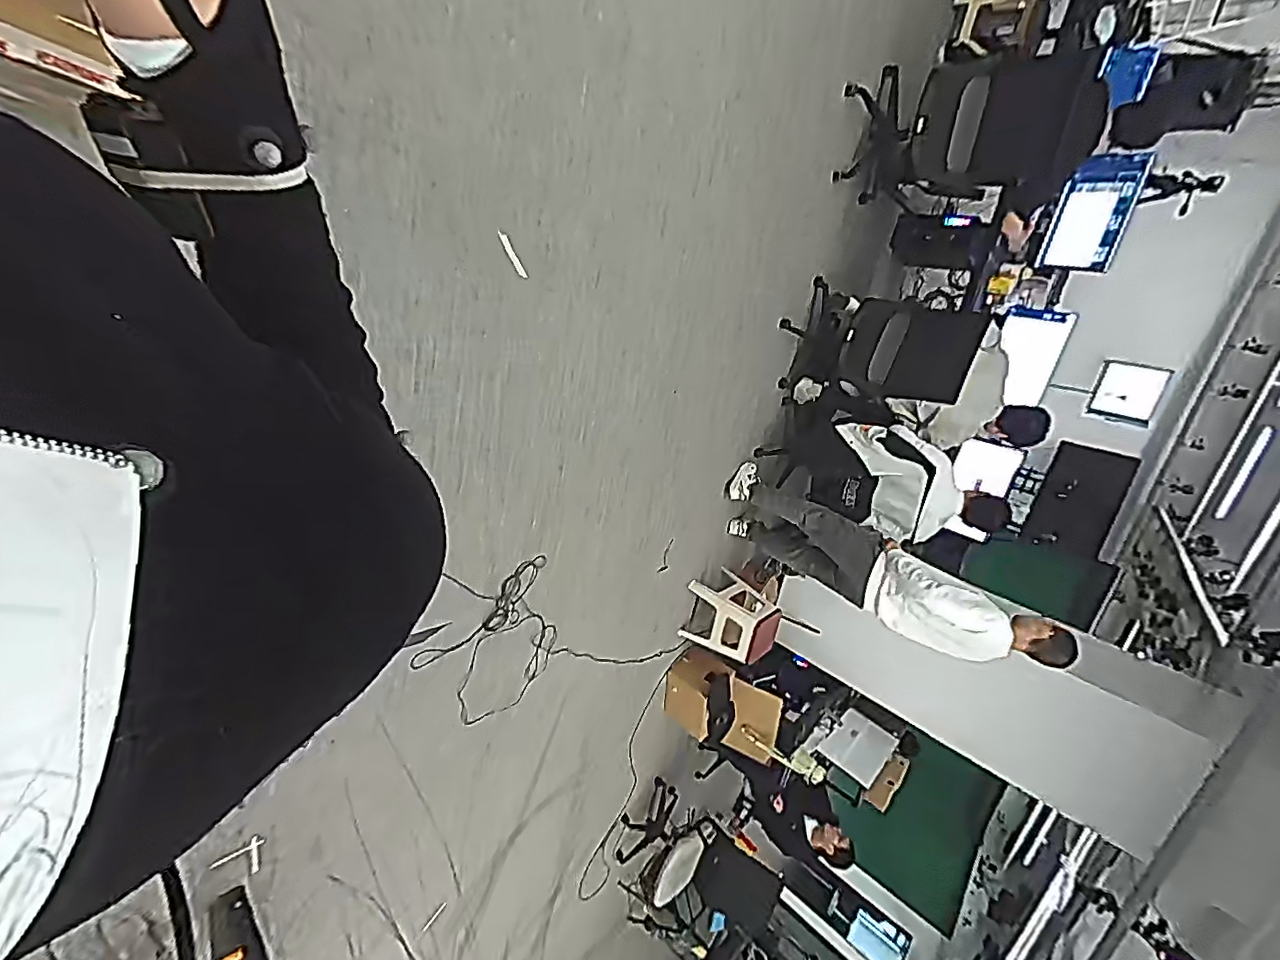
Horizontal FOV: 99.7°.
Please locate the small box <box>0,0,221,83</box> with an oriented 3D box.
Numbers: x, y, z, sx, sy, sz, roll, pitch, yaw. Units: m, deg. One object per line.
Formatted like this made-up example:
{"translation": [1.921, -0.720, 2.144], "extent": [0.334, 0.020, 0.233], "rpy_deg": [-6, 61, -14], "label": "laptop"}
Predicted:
{"translation": [-0.582, -0.556, 0.579], "extent": [0.179, 0.176, 0.168], "rpy_deg": [-10, 118, -49], "label": "small box"}
